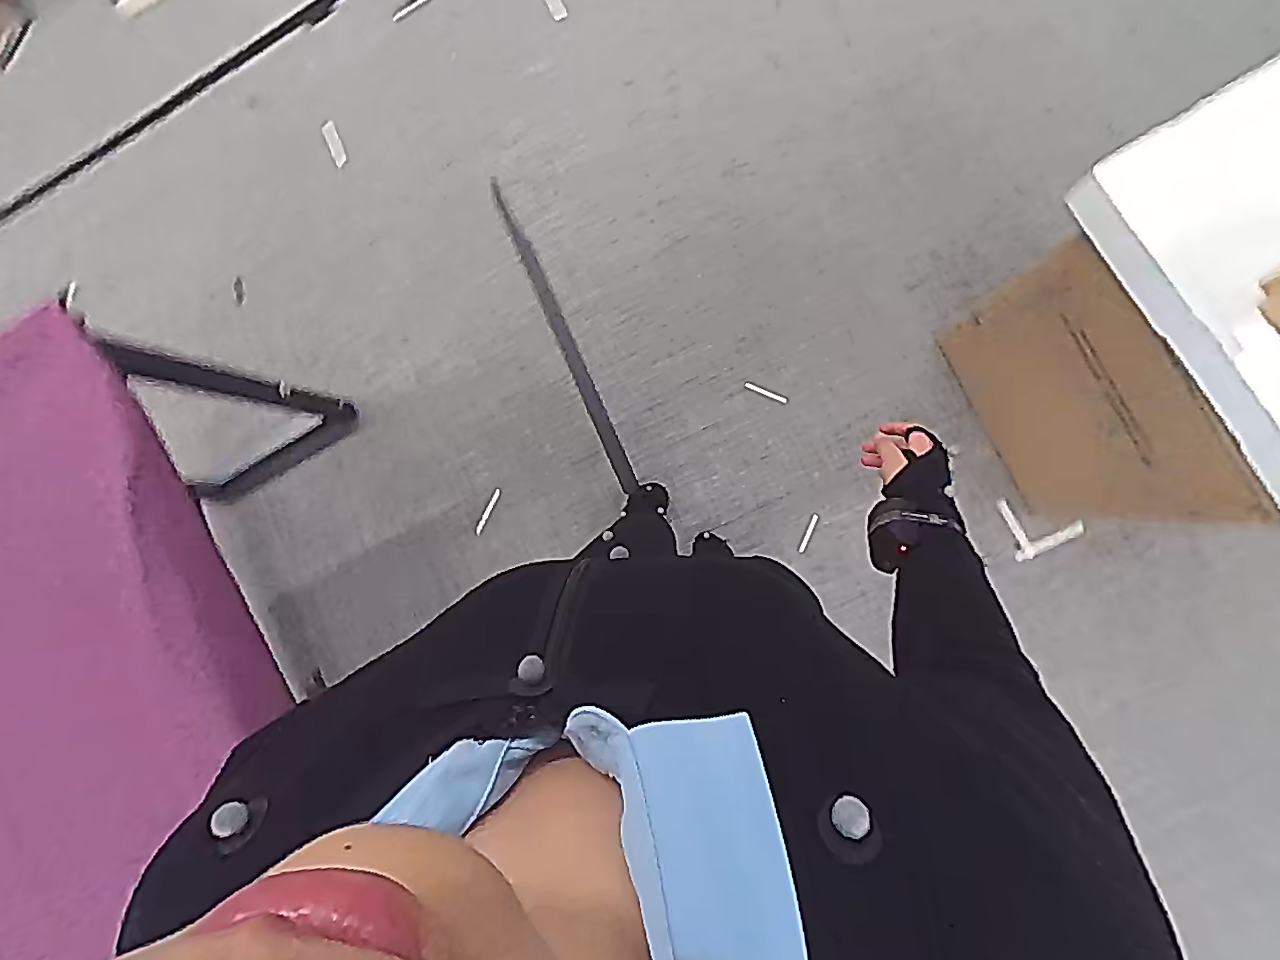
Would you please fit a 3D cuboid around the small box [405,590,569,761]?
[{"bbox_3d":[-0.246,0.325,0.906,0.168,0.176,0.179,19,48,38],"label":"small box"}]
